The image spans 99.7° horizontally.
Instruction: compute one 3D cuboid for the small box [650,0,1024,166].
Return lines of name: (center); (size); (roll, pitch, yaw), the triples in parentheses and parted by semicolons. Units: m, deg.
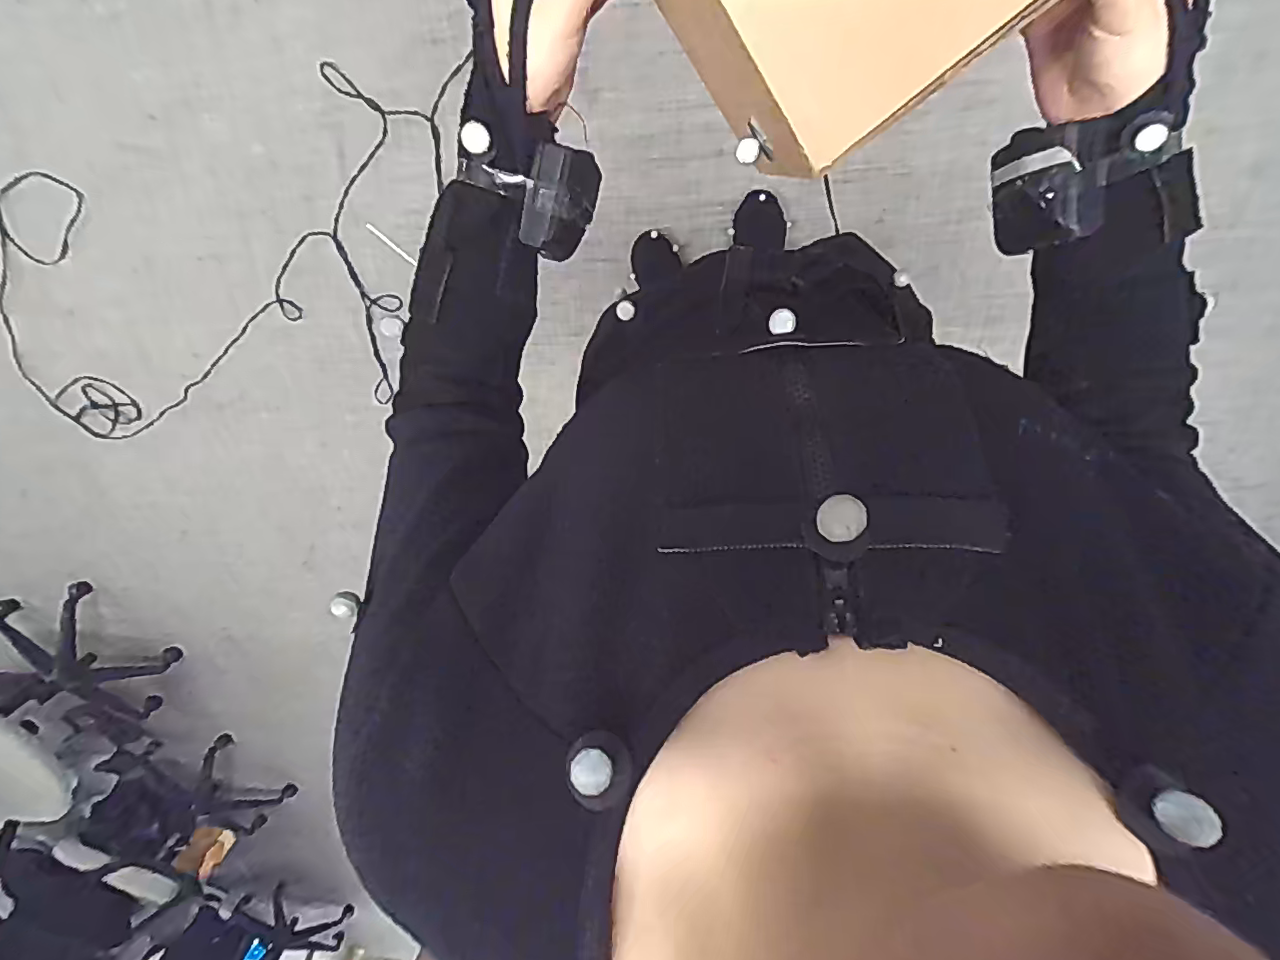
small box: (0.088, -0.273, 0.234); (0.179, 0.168, 0.176); (-34, 113, 20)
